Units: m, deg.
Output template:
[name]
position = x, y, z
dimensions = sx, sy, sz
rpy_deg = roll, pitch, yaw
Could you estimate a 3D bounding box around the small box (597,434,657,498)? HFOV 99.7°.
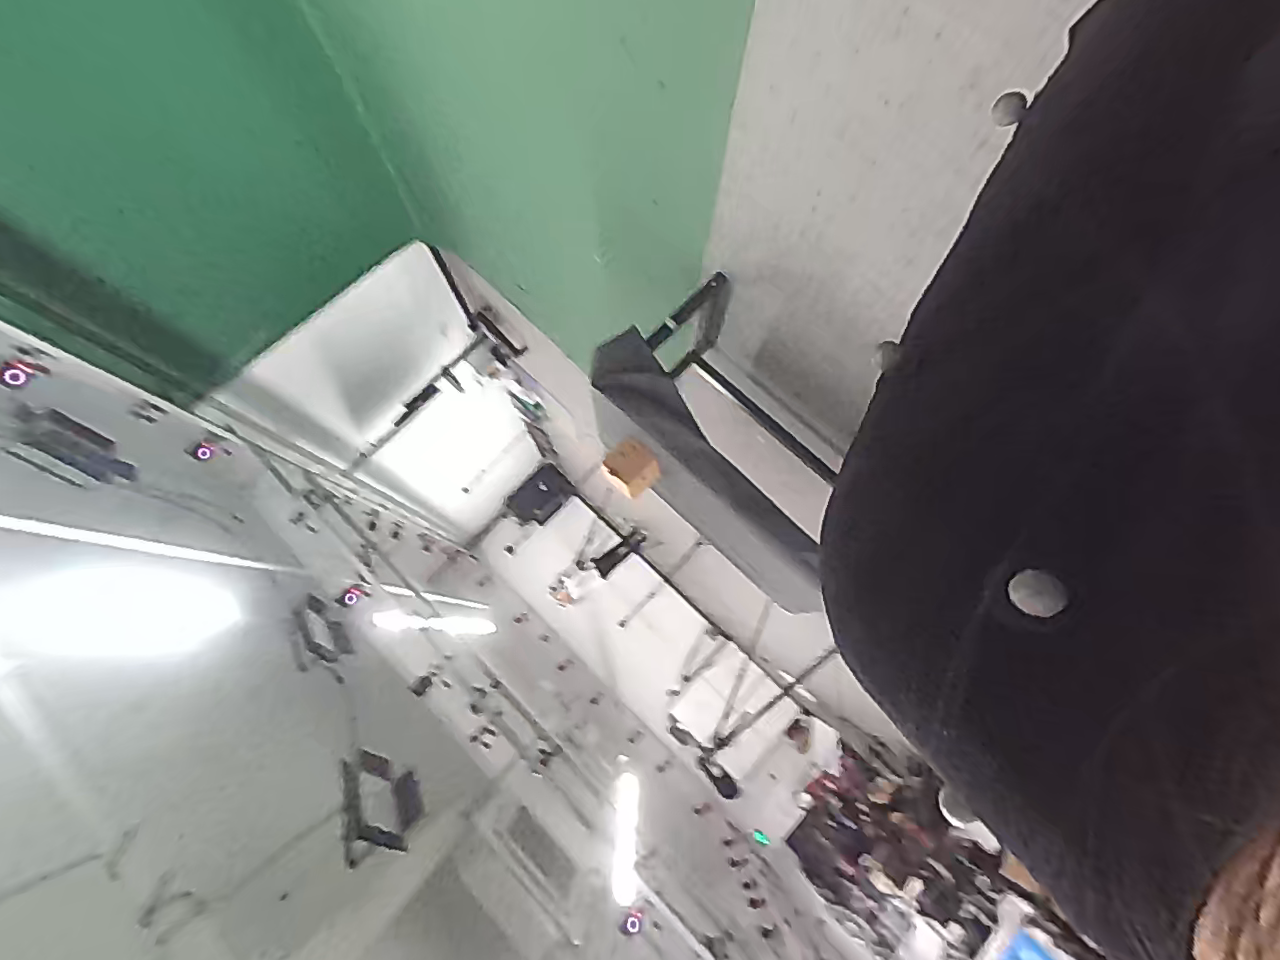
[small box]
position = -0.048, -0.060, 2.225
dimensions = 0.168, 0.176, 0.179
rpy_deg = 42, 169, 21
